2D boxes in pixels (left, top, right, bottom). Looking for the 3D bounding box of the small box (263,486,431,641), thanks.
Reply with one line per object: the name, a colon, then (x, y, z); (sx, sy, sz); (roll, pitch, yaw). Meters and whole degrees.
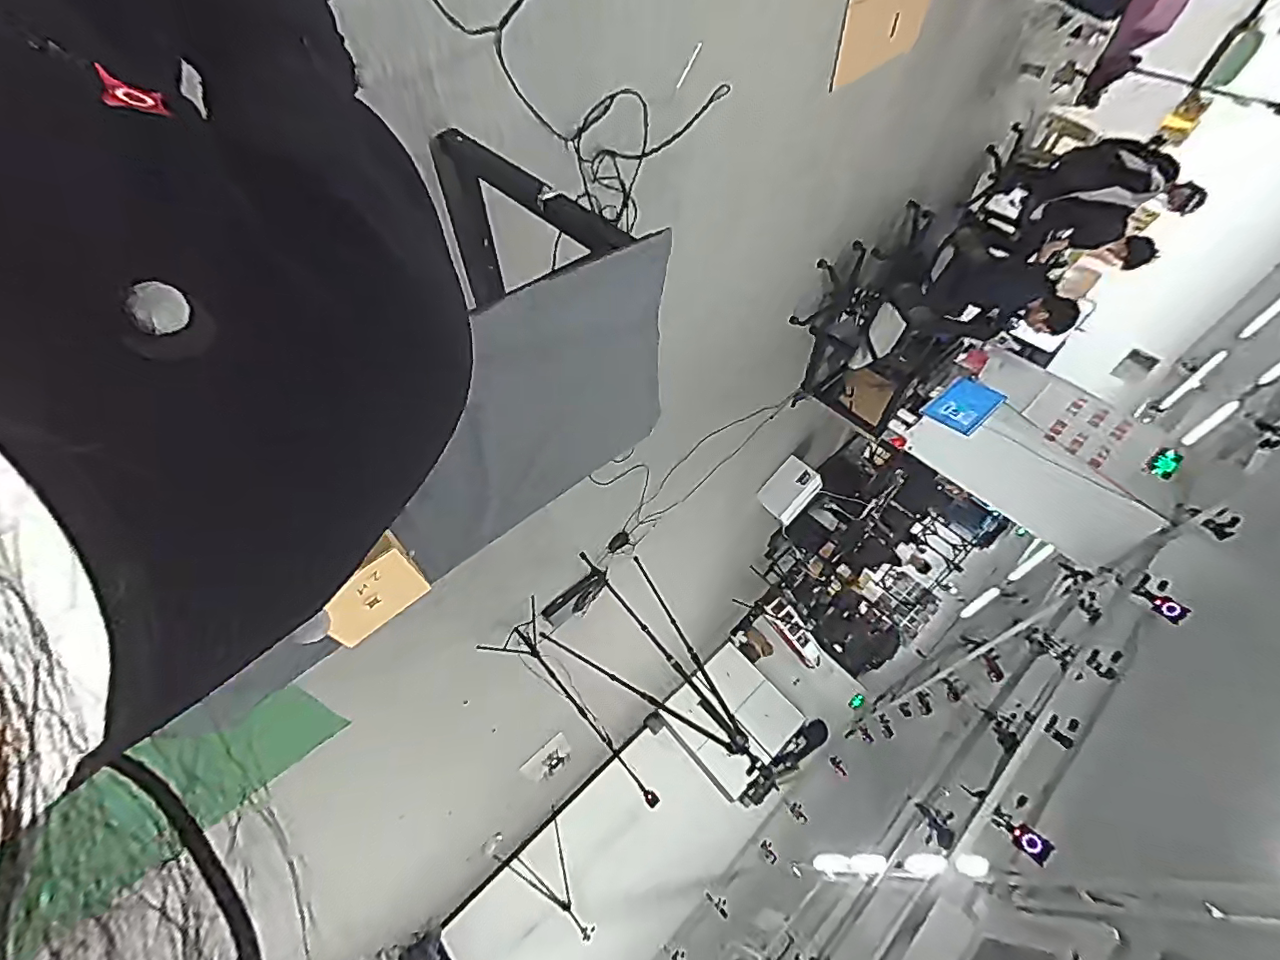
small box: (-0.502, 0.143, 0.940); (0.168, 0.176, 0.179); (-38, 154, -21)
